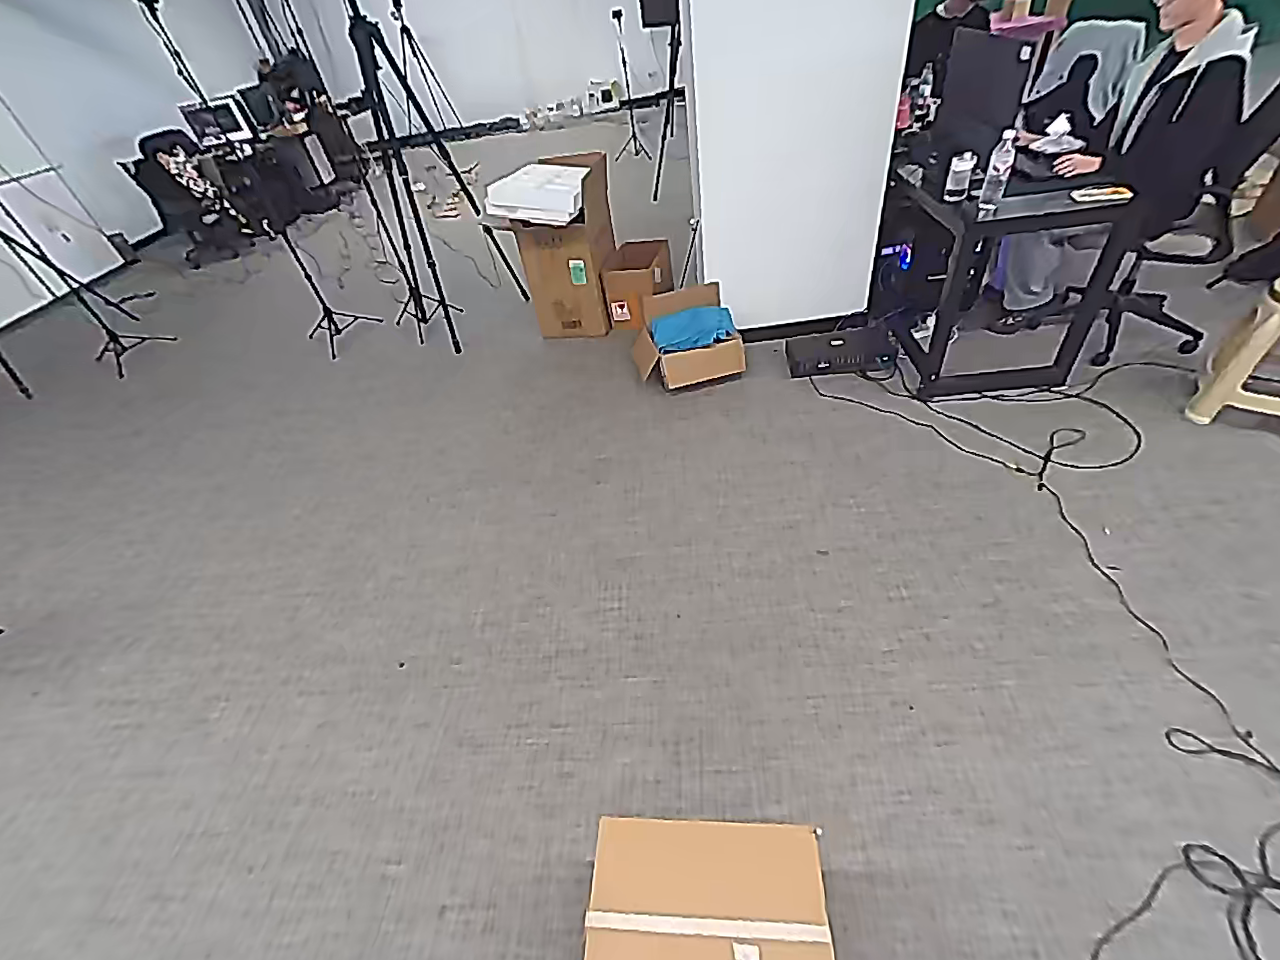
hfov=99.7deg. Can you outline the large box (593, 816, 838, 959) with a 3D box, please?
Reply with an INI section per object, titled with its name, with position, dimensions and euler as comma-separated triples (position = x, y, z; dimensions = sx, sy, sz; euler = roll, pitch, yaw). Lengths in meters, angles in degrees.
[large box]
position = 0.139, 0.856, 1.009
dimensions = 0.408, 0.320, 0.320
euler = -2, 43, 8
